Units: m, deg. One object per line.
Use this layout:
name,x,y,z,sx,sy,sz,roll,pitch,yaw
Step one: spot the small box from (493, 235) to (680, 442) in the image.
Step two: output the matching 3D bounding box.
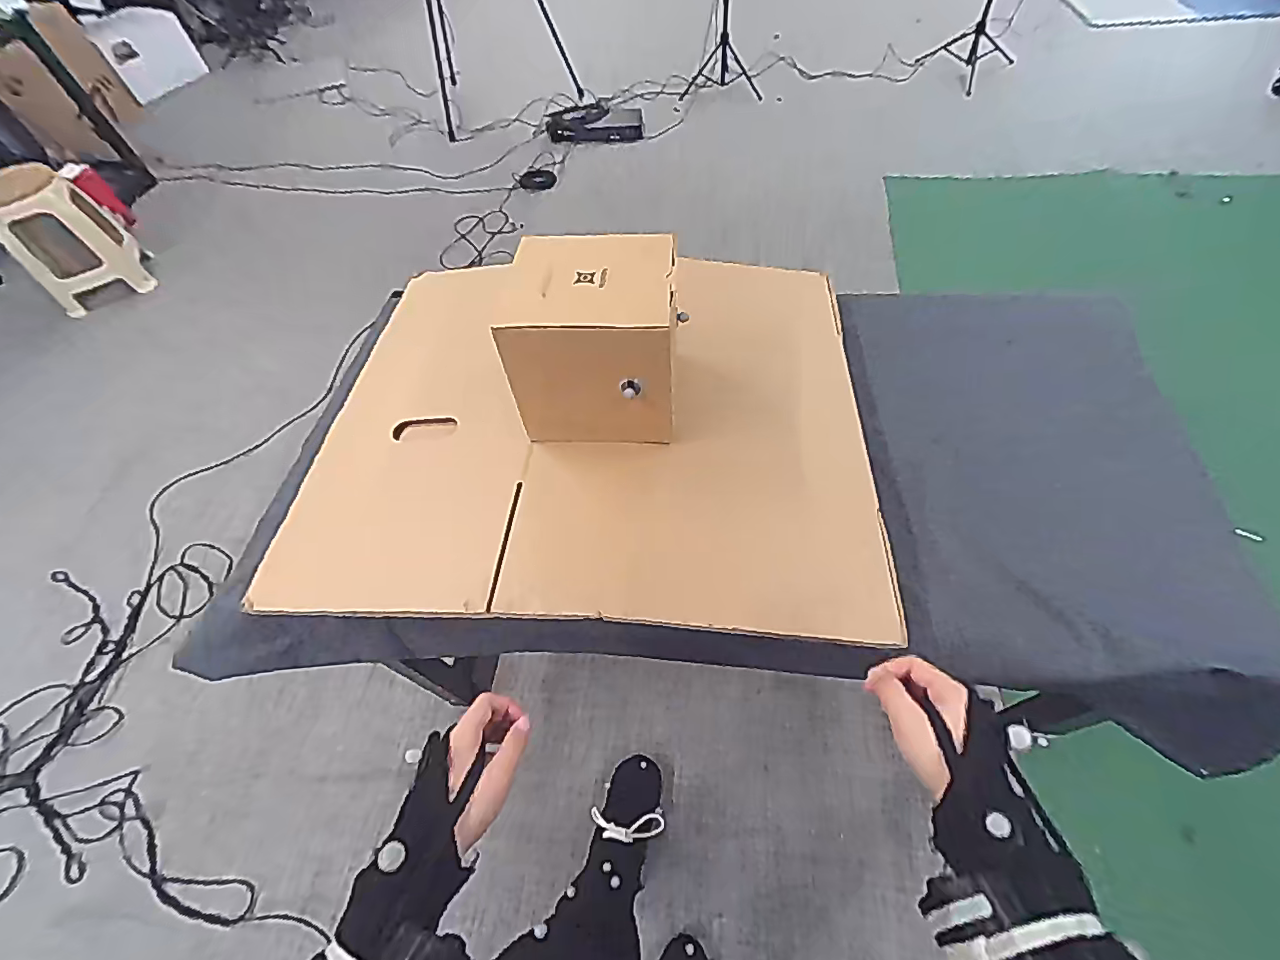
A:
small box,-0.044,-0.156,0.619,0.179,0.176,0.168,0,53,5
